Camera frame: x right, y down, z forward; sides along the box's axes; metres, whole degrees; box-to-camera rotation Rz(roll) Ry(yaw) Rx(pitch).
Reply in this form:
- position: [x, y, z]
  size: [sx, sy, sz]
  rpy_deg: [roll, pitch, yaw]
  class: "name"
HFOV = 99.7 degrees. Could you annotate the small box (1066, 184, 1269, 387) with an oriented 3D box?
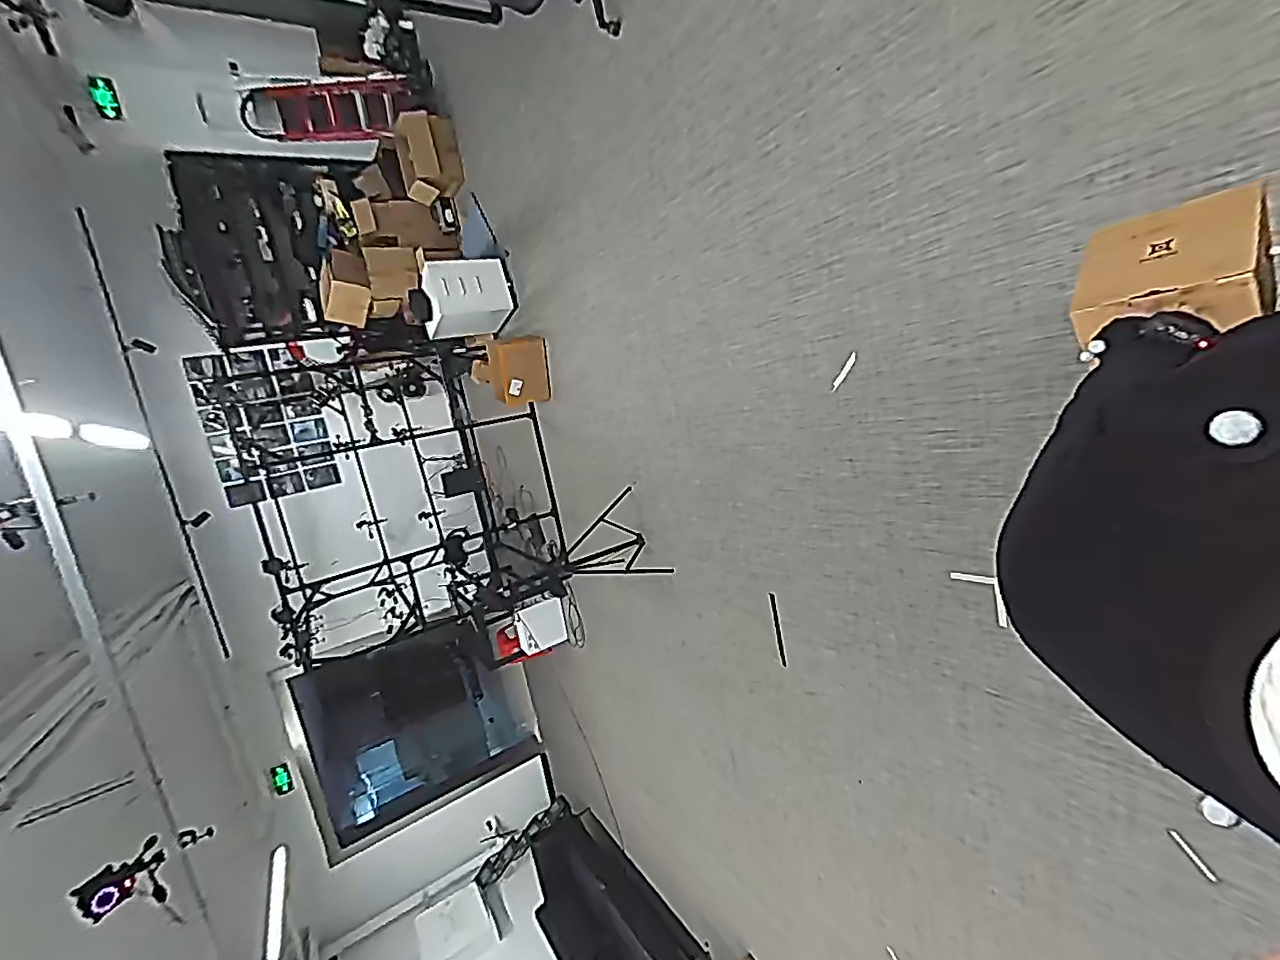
- position: [0.707, -0.240, 0.722]
  size: [0.176, 0.179, 0.168]
  rpy_deg: [44, 155, -28]
  class: "small box"
